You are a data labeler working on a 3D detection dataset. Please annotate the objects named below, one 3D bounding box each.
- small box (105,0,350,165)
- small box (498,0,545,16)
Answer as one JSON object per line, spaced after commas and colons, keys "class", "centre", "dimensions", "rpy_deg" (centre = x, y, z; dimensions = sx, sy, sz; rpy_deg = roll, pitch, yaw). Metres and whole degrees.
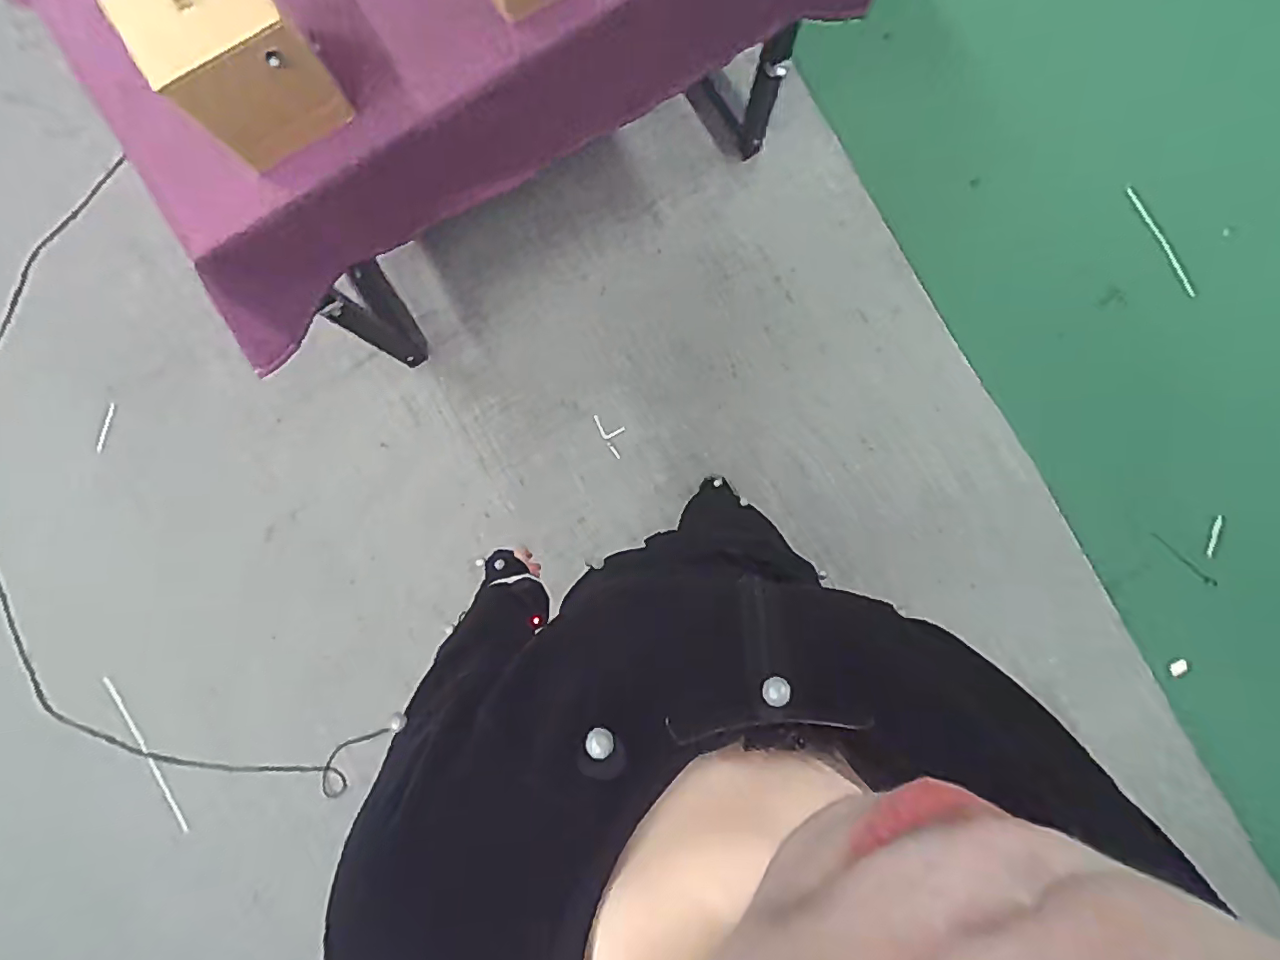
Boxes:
{"class": "small box", "centre": [-0.537, -0.569, 0.721], "dimensions": [0.179, 0.176, 0.168], "rpy_deg": [-32, 88, -2]}
{"class": "small box", "centre": [-0.160, -0.796, 0.730], "dimensions": [0.179, 0.176, 0.168], "rpy_deg": [-30, 88, -1]}
